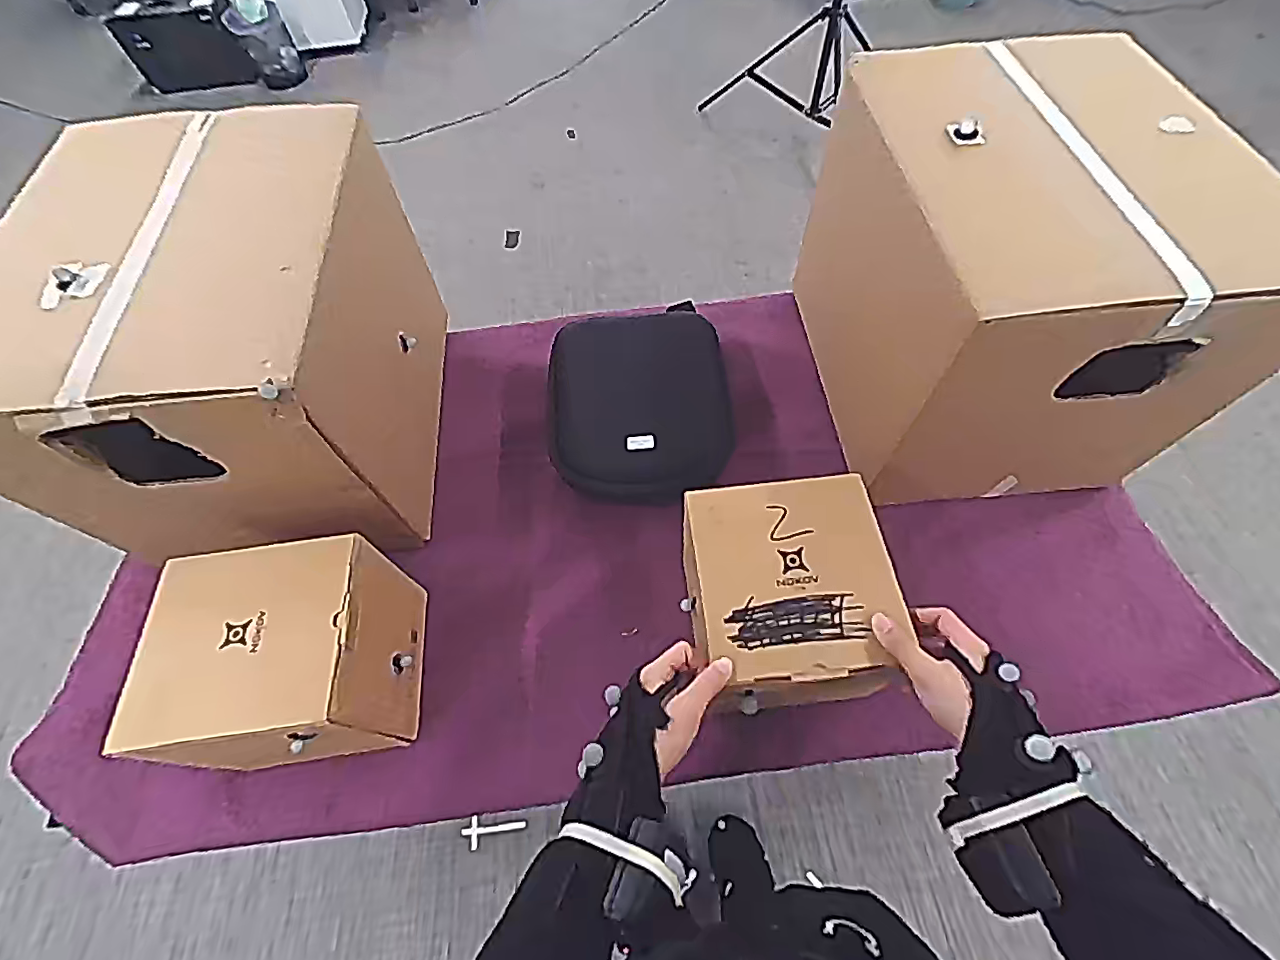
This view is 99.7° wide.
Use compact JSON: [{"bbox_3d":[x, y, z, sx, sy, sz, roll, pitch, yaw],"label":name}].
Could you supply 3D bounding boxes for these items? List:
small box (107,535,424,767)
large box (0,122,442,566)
[{"bbox_3d":[-0.335,0.174,0.530,0.179,0.176,0.168,-9,59,-3],"label":"small box"},{"bbox_3d":[-0.436,-0.142,0.636,0.320,0.320,0.408,-7,62,-3],"label":"large box"}]
